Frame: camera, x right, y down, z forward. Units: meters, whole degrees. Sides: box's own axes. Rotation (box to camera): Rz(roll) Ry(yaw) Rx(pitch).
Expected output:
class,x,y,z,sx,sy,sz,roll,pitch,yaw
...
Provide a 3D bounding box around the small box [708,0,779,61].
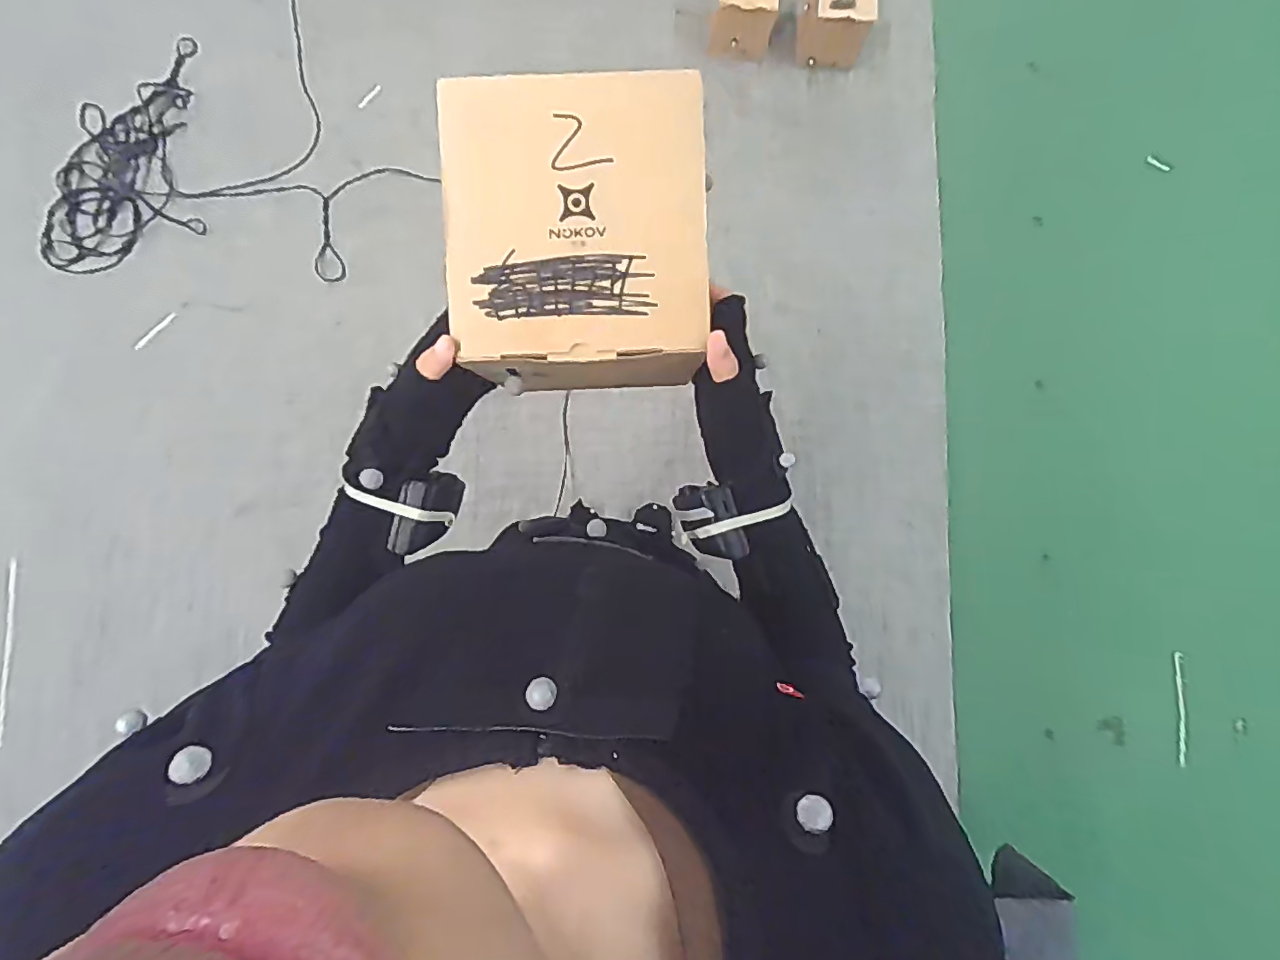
class,x,y,z,sx,sy,sz,roll,pitch,yaw
small box,0.289,-1.345,1.530,0.168,0.176,0.179,3,86,-3

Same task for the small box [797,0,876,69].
class,x,y,z,sx,sy,sz,roll,pitch,yaw
small box,0.557,-1.320,1.542,0.168,0.176,0.179,3,85,-3
